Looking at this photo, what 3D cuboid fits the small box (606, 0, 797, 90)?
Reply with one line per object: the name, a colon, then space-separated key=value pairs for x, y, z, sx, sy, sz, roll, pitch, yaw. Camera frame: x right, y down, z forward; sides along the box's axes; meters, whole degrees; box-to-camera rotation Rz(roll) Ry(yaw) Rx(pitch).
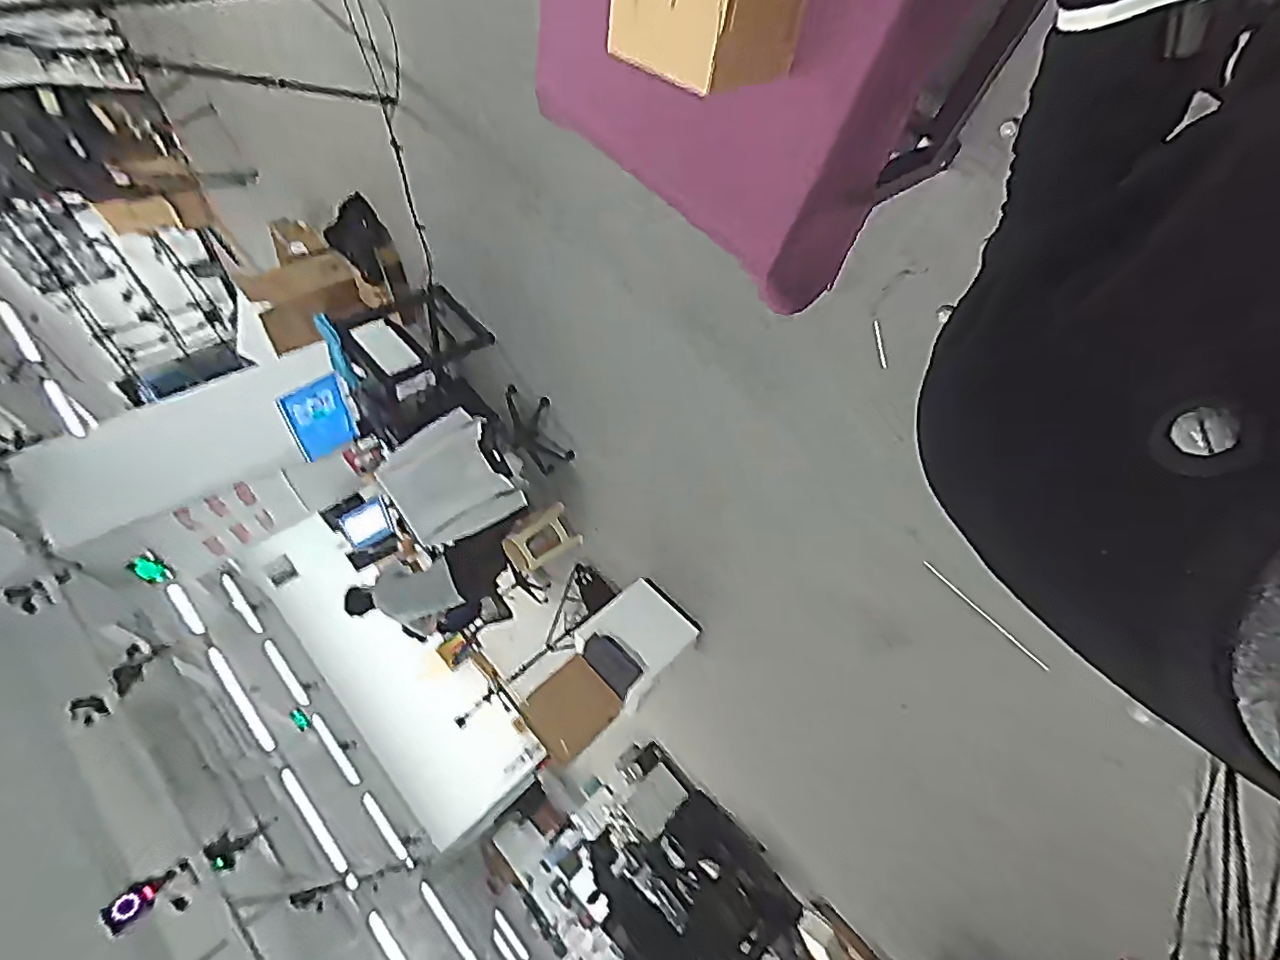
small box: x=0.084 y=-0.601 z=0.644 sx=0.179 sy=0.176 sz=0.168 roll=42 pitch=147 yaw=21
